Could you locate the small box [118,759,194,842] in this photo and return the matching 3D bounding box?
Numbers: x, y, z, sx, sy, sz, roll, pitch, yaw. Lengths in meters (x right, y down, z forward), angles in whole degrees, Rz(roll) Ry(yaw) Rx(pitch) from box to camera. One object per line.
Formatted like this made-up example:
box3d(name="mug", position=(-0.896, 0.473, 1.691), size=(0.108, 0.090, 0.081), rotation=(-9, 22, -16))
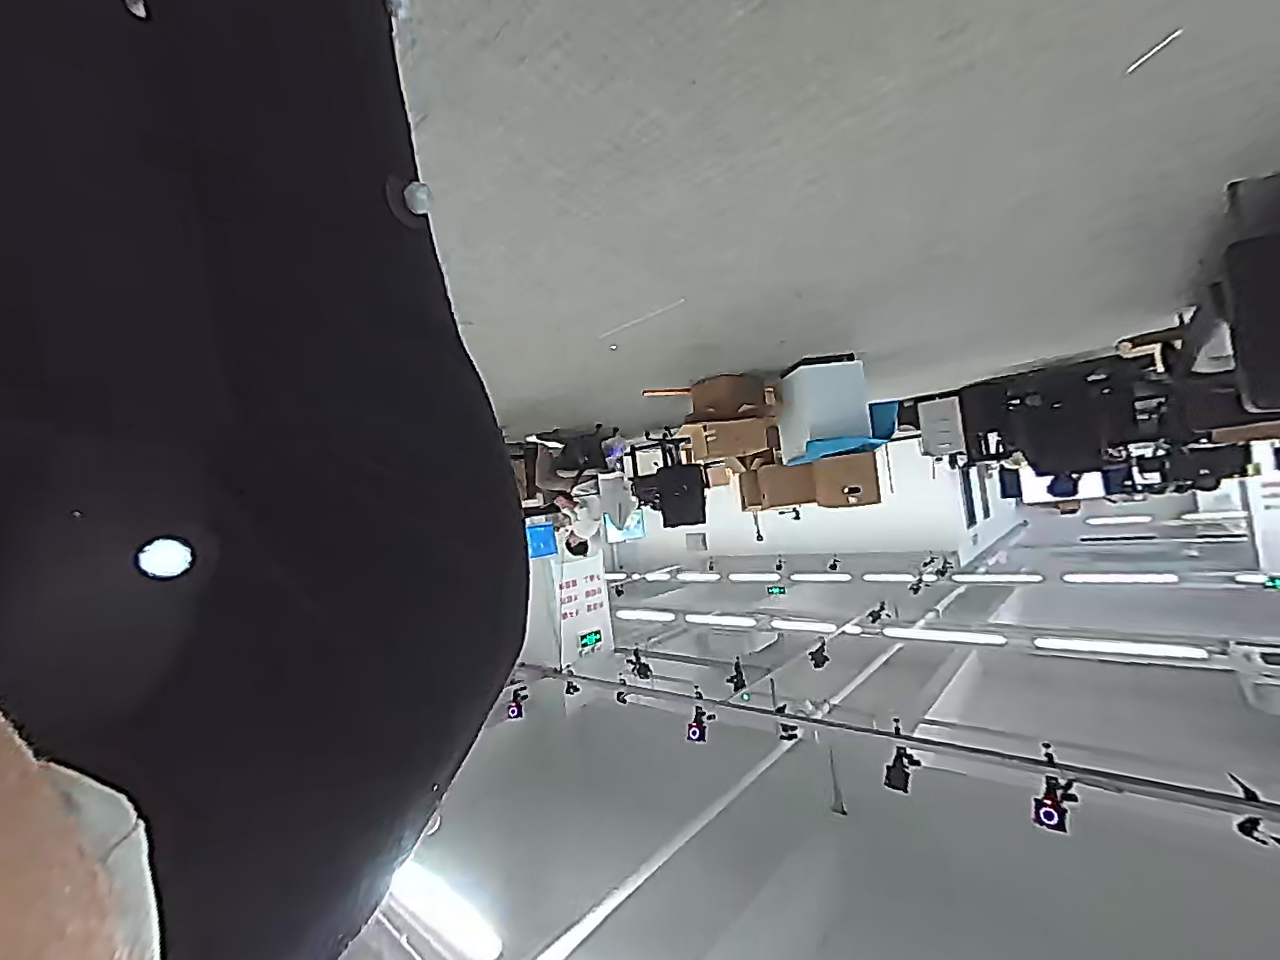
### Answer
box3d(name="small box", position=(-1.659, 1.086, 1.848), size=(0.179, 0.176, 0.168), rotation=(-7, 178, 39))
